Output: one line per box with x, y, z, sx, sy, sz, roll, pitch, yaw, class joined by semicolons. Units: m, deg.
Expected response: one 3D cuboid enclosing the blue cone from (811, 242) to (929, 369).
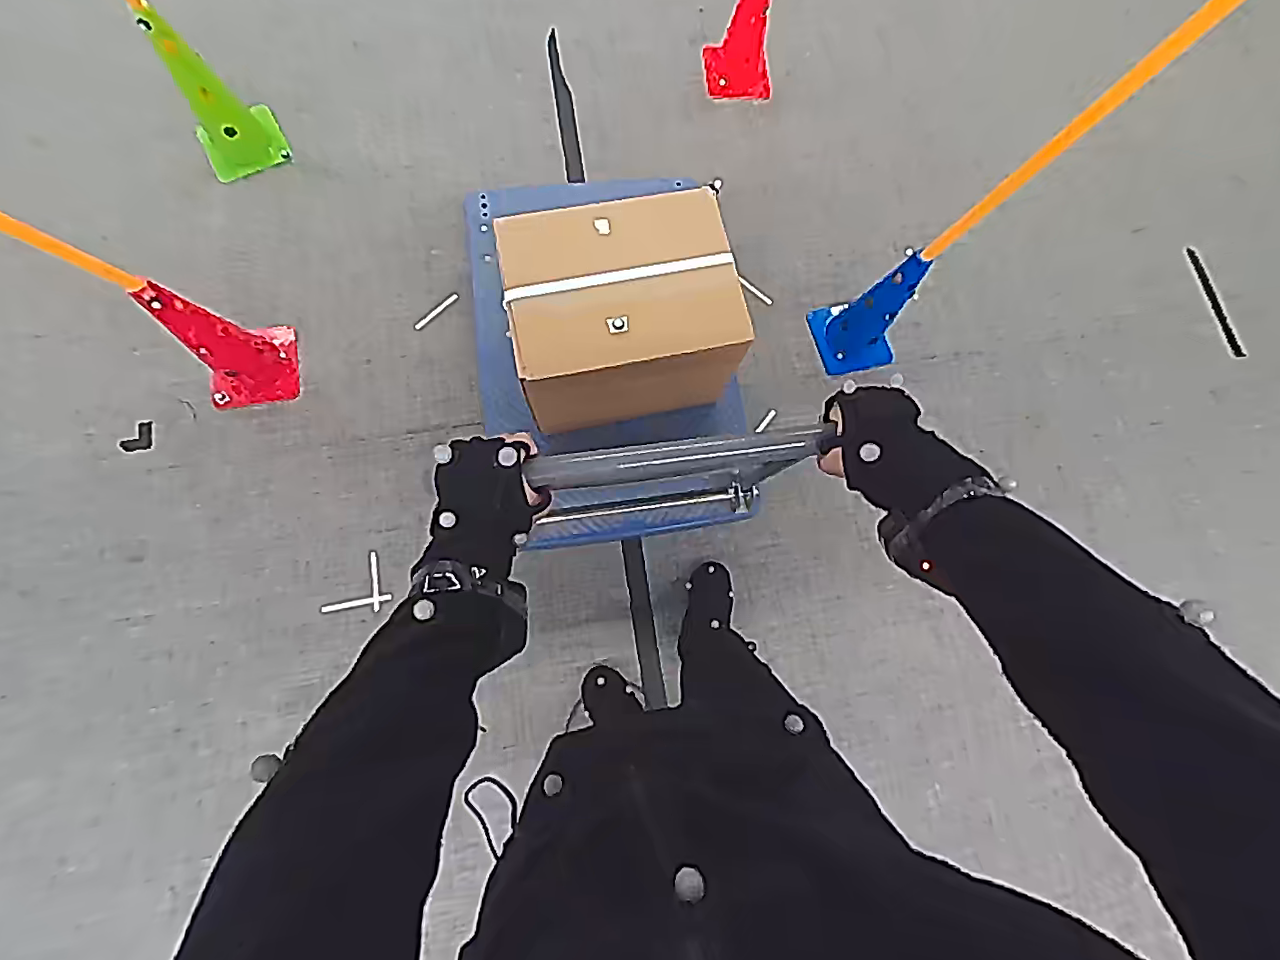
0.594;-0.440;1.335;0.193;0.380;0.192;-12;77;-8;blue cone

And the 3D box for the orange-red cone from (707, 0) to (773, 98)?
0.319;-1.294;1.495;0.199;0.360;0.198;-2;78;-6;orange-red cone
